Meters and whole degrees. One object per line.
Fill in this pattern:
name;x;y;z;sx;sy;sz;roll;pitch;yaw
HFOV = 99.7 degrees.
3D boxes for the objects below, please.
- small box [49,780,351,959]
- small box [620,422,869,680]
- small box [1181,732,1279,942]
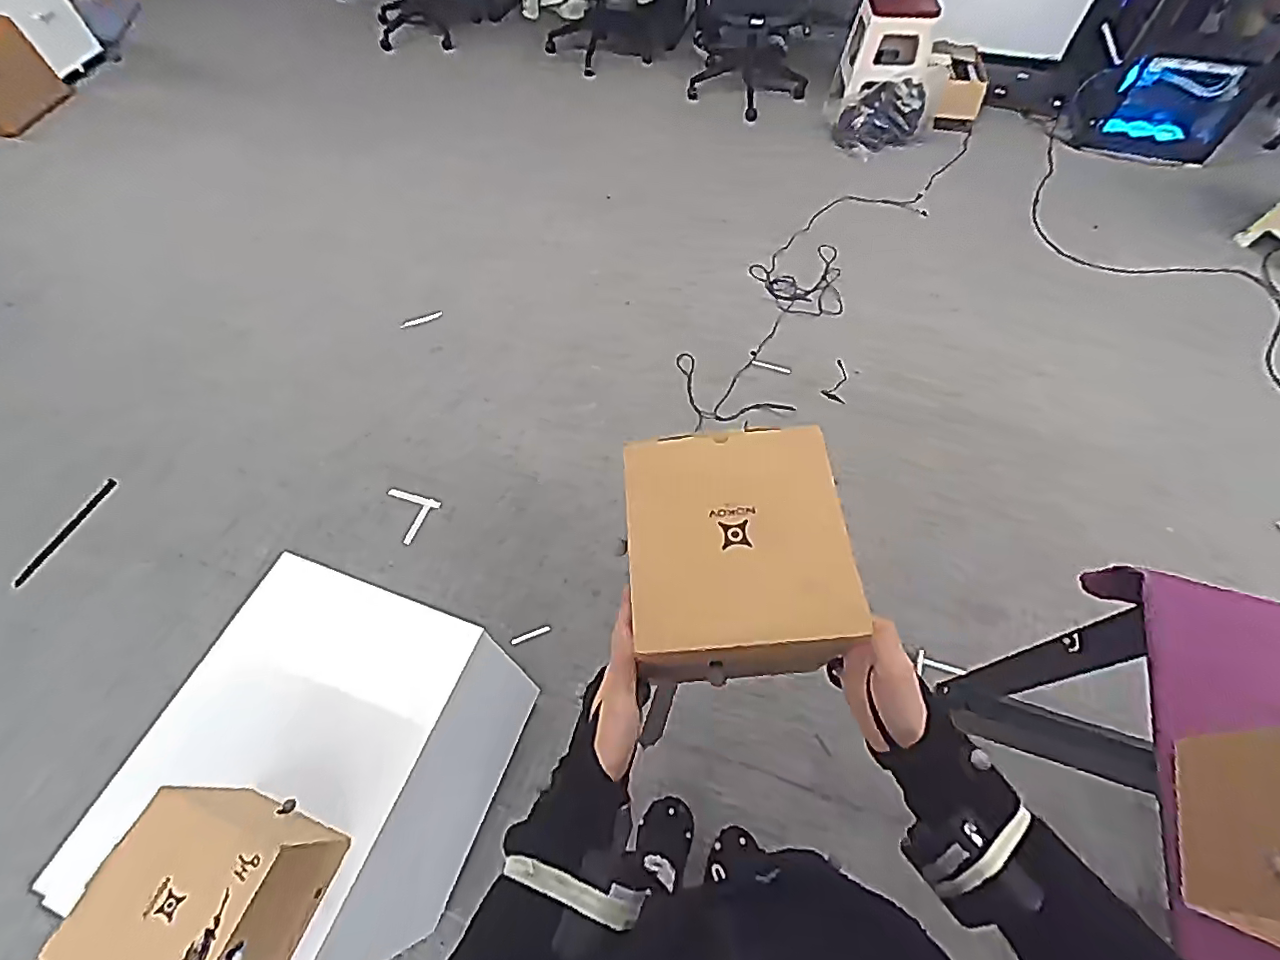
small box;-0.492;0.479;0.638;0.179;0.176;0.168;17;61;11
small box;0.076;0.073;0.475;0.168;0.176;0.179;-6;61;1
small box;0.687;0.370;0.526;0.168;0.176;0.179;21;62;12
